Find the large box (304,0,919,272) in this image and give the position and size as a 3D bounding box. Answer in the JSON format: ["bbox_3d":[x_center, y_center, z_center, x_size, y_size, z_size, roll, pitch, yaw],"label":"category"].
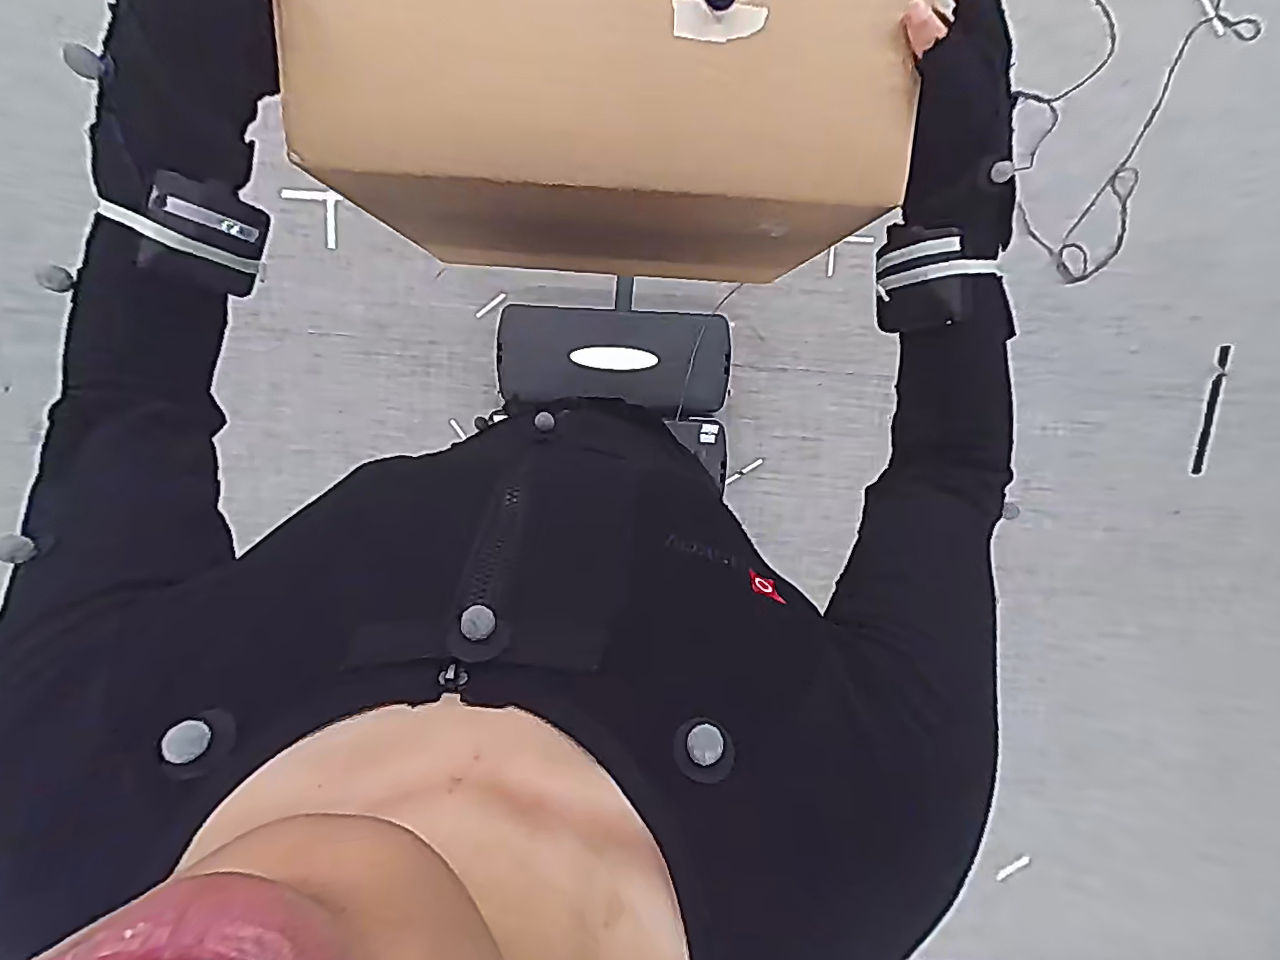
[{"bbox_3d":[-0.022,-0.382,0.487,0.408,0.320,0.320,1,101,-4],"label":"large box"}]

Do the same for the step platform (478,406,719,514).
[{"bbox_3d":[-0.114,-0.059,1.568,0.684,0.204,0.286,2,97,0],"label":"step platform"}]
